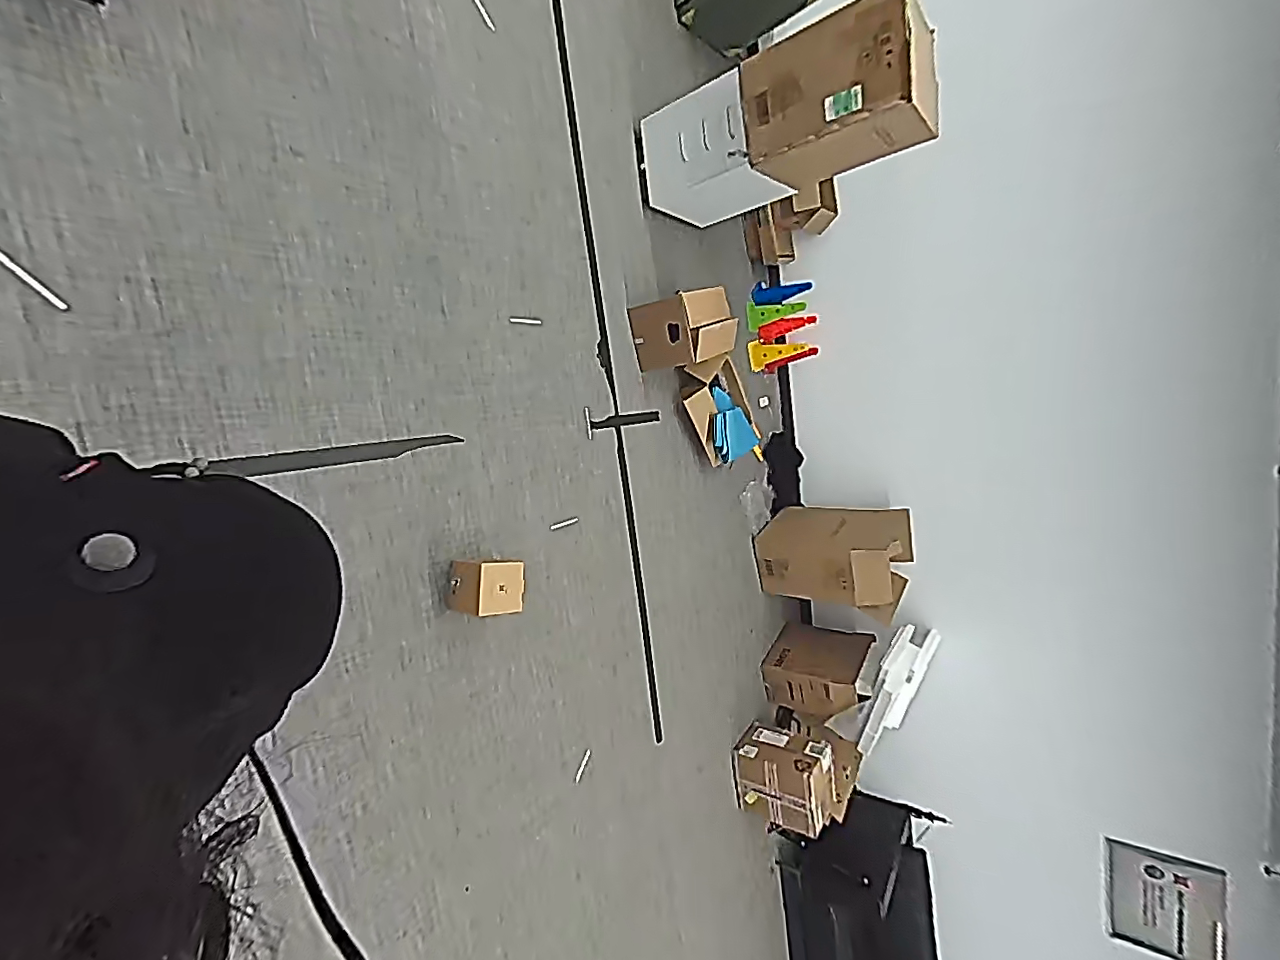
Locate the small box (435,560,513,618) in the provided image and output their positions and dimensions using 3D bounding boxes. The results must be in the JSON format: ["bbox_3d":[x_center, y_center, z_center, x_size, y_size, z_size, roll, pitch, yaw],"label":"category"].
[{"bbox_3d":[-0.540,0.350,1.768,0.179,0.176,0.168,9,81,-52],"label":"small box"}]
